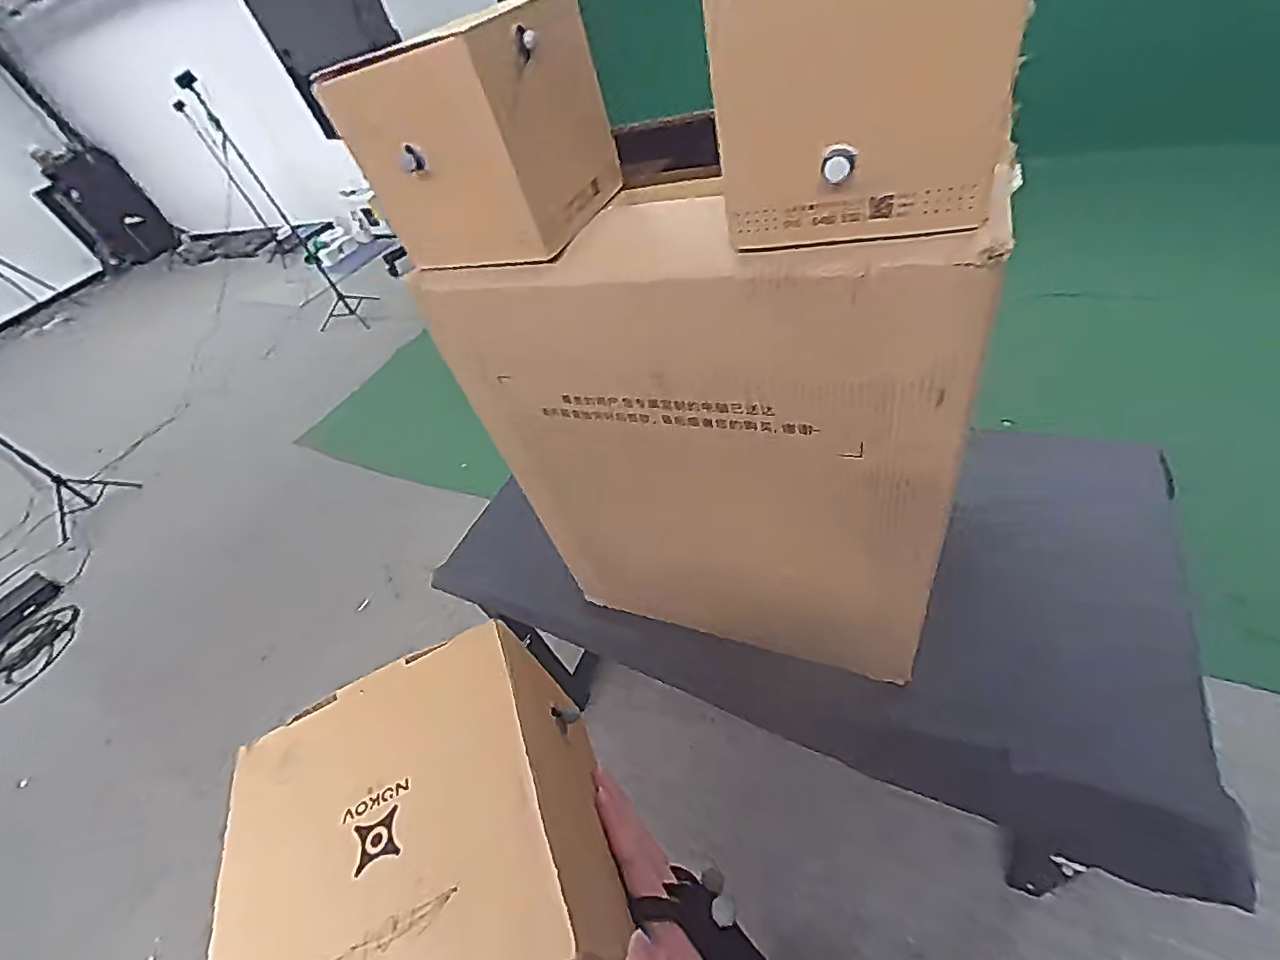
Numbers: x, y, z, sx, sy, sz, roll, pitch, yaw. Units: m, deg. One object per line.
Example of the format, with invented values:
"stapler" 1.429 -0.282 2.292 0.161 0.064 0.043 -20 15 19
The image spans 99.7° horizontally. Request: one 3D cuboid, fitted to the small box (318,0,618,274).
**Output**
"small box" -0.149 -0.315 0.520 0.179 0.176 0.168 6 51 28
